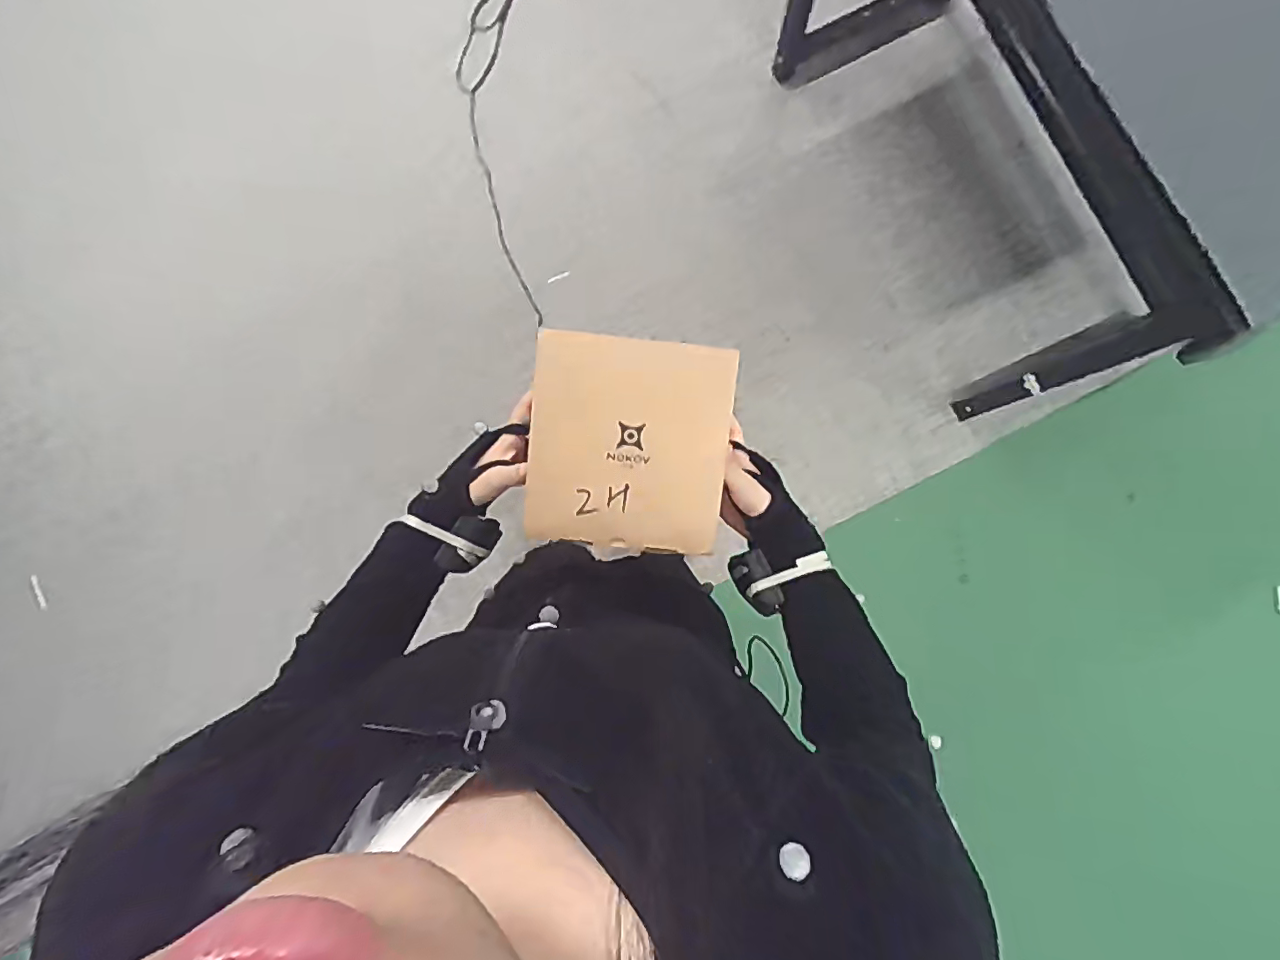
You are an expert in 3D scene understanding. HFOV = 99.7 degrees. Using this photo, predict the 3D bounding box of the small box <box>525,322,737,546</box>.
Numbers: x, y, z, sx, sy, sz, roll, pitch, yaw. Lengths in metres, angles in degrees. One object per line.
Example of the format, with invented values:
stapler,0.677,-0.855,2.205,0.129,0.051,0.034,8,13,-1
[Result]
small box,-0.010,-0.046,0.532,0.168,0.176,0.179,5,98,-1
